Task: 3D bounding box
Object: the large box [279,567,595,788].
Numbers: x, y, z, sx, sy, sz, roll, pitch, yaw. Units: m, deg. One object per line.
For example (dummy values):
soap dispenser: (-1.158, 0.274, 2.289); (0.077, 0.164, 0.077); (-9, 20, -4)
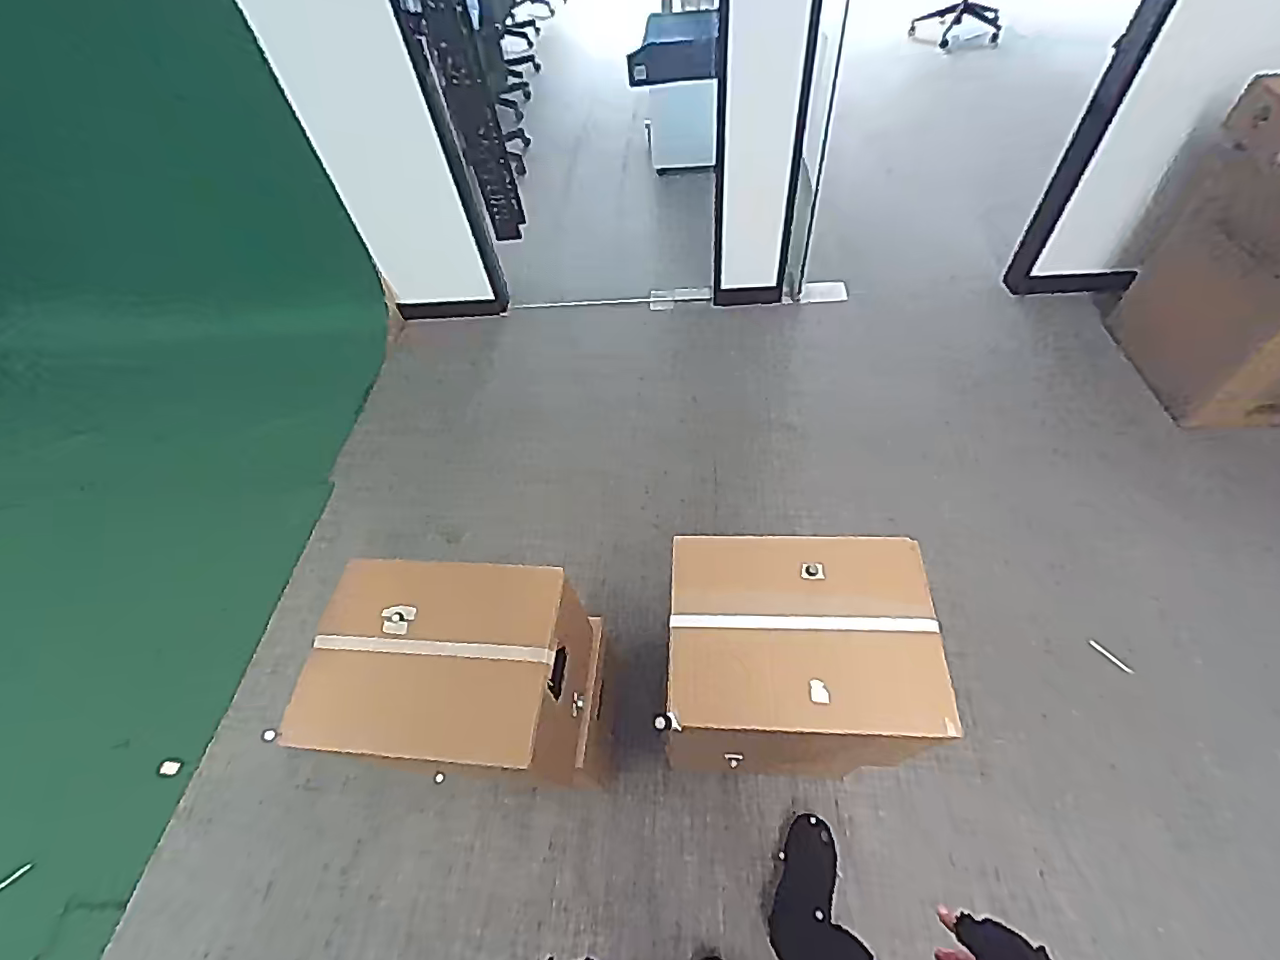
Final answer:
large box: (-0.319, 0.366, 0.989); (0.408, 0.320, 0.320); (1, 55, 9)
